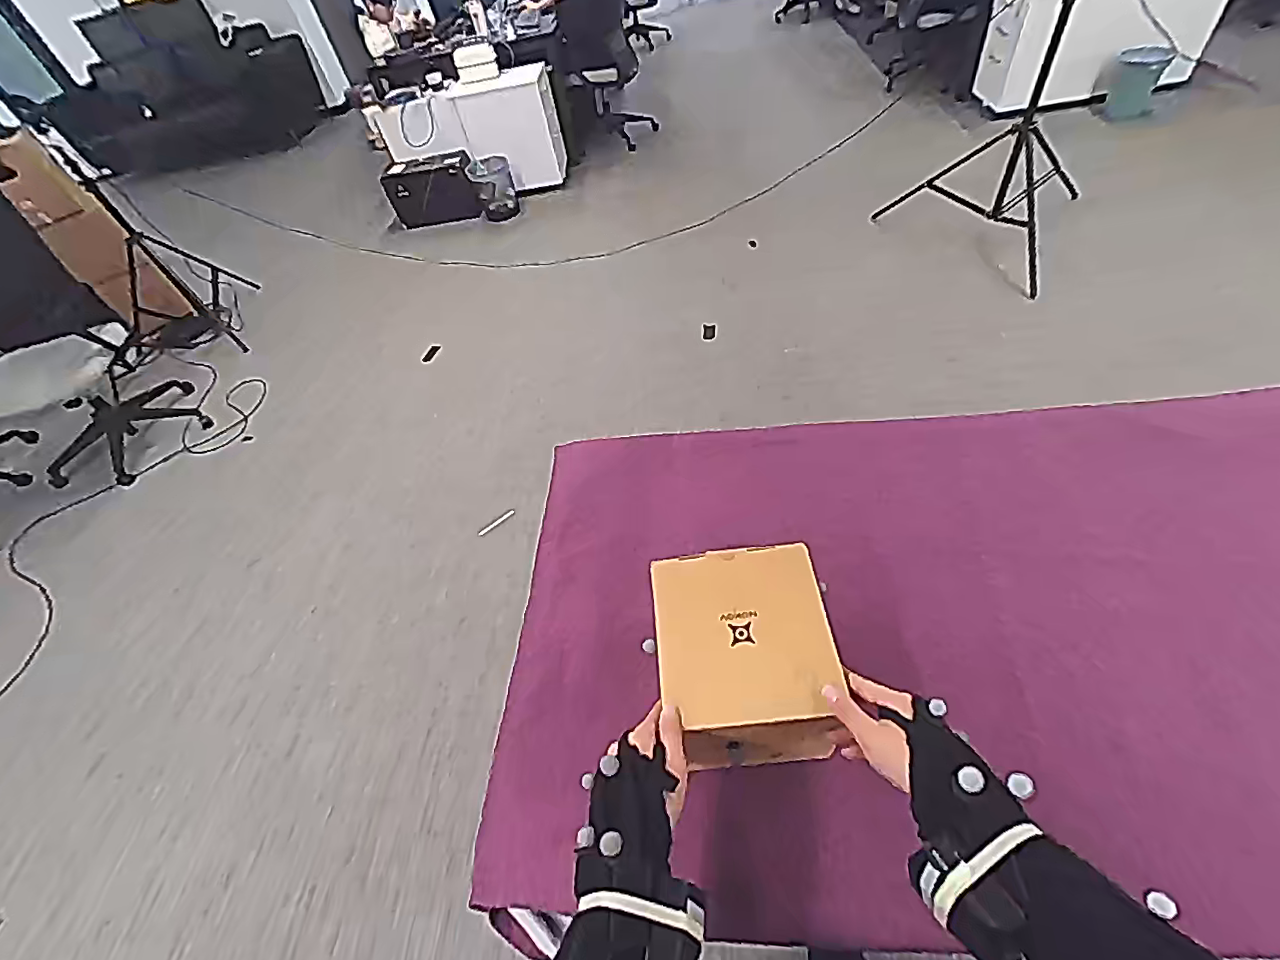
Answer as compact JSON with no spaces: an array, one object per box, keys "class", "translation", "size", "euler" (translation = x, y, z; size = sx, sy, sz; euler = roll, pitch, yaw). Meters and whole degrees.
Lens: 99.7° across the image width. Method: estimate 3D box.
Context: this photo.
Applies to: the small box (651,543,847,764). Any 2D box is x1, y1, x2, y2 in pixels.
[{"class":"small box","translation":[0.108,0.193,0.580],"size":[0.168,0.176,0.179],"euler":[-8,49,5]}]
